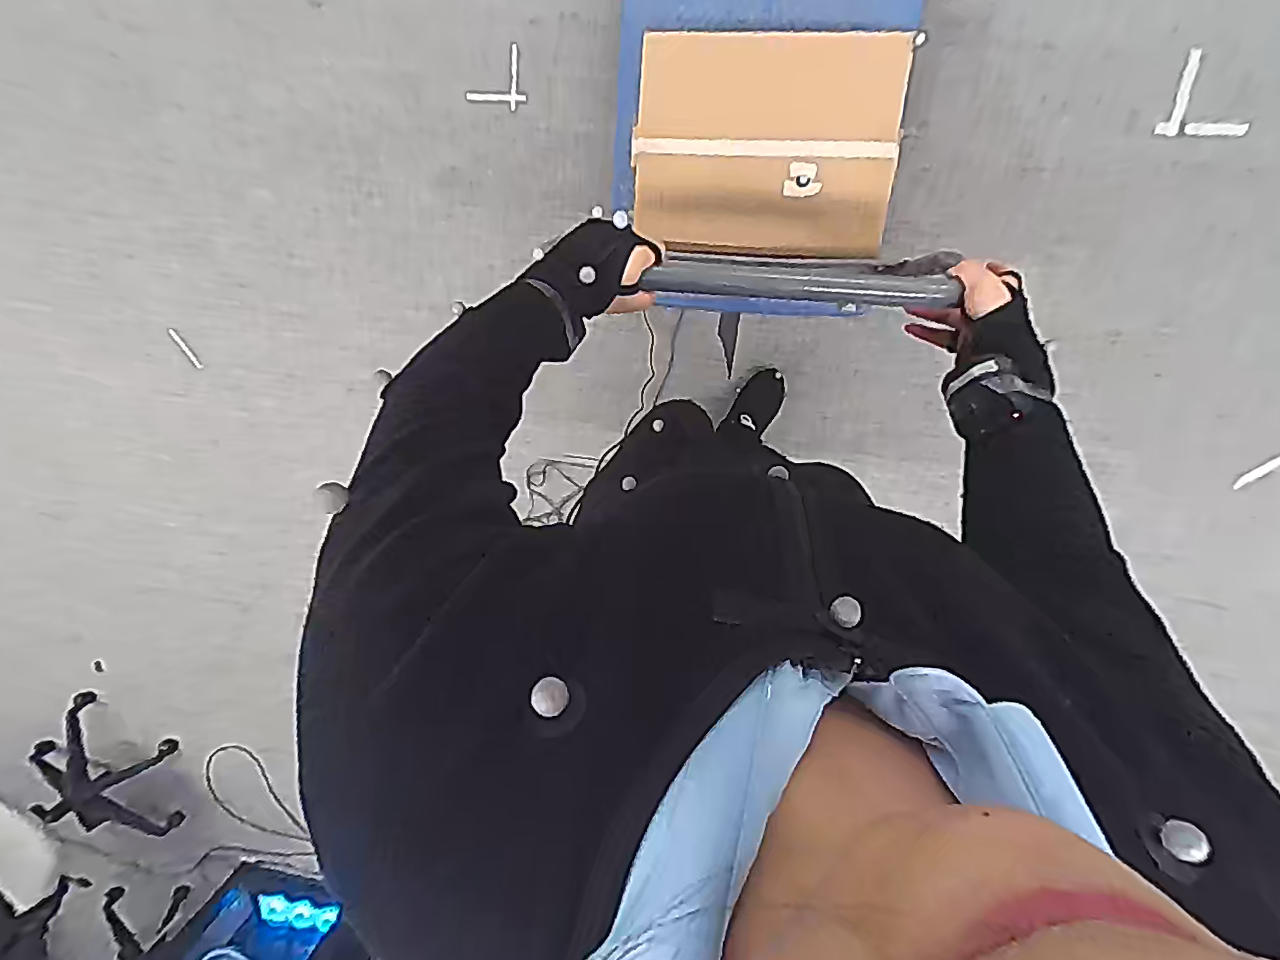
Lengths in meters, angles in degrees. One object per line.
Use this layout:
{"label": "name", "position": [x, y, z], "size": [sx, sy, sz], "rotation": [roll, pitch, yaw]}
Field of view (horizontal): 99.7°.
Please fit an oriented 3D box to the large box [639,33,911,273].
{"label": "large box", "position": [0.217, -0.567, 1.003], "size": [0.408, 0.320, 0.320], "rotation": [5, 107, 6]}
